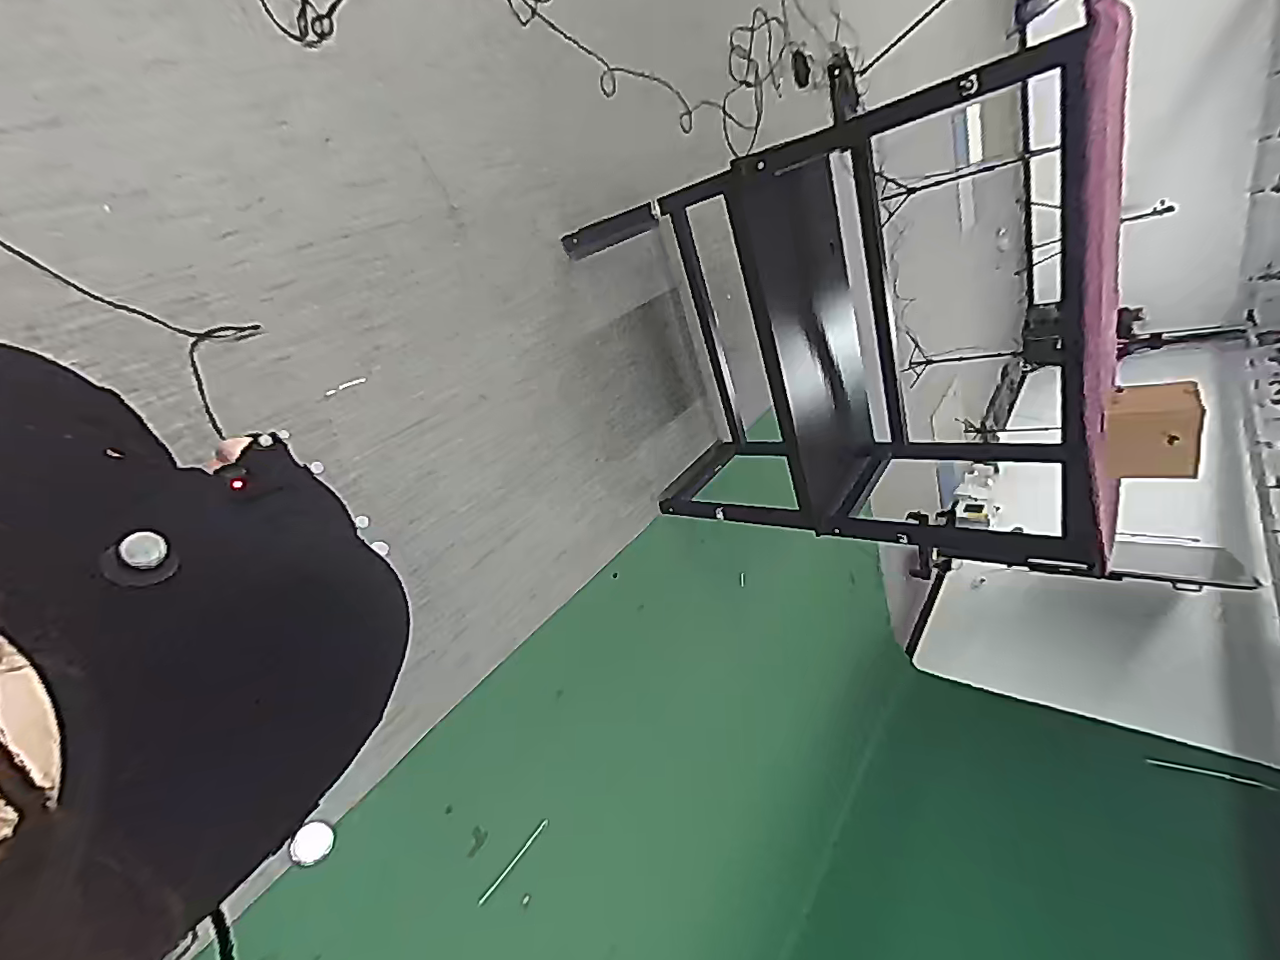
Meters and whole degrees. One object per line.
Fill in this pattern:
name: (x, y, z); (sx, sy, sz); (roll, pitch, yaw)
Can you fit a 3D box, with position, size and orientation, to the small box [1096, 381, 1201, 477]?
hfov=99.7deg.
small box: (1.205, -0.119, 1.292); (0.168, 0.176, 0.179); (-41, 122, -40)
